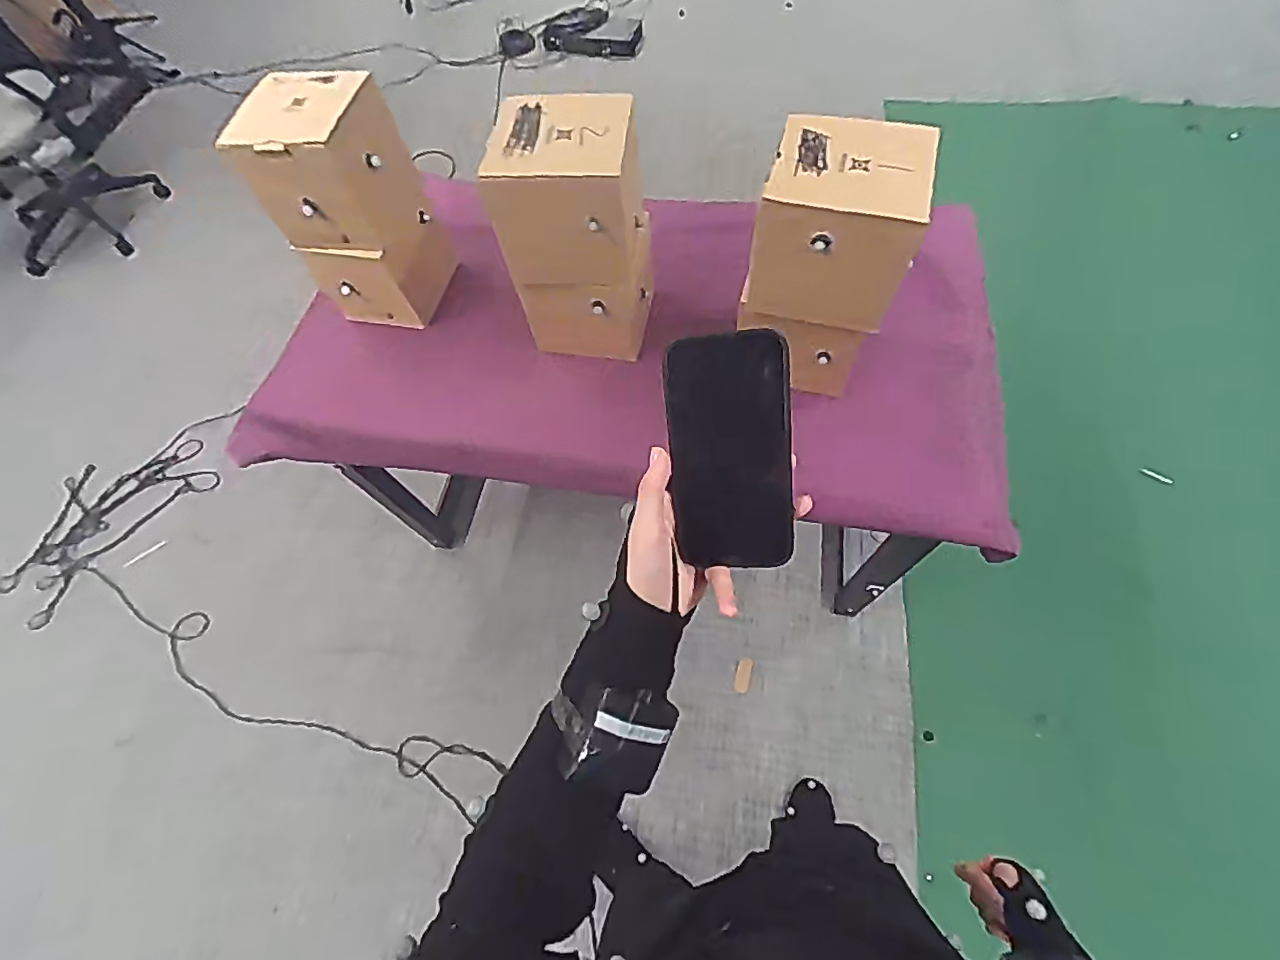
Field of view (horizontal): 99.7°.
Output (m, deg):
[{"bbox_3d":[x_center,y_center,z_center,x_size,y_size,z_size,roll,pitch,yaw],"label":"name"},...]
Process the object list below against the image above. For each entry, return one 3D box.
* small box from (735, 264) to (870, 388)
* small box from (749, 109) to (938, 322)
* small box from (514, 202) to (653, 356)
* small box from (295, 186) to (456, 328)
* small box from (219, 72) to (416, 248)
[{"bbox_3d":[0.250,-0.261,0.823,0.179,0.176,0.168,14,65,13],"label":"small box"},{"bbox_3d":[0.240,-0.321,0.670,0.179,0.176,0.168,14,65,12],"label":"small box"},{"bbox_3d":[-0.079,-0.323,0.887,0.179,0.176,0.168,8,64,10],"label":"small box"},{"bbox_3d":[-0.455,-0.395,0.964,0.168,0.176,0.179,9,64,10],"label":"small box"},{"bbox_3d":[-0.469,-0.477,0.822,0.168,0.176,0.179,4,64,7],"label":"small box"}]
